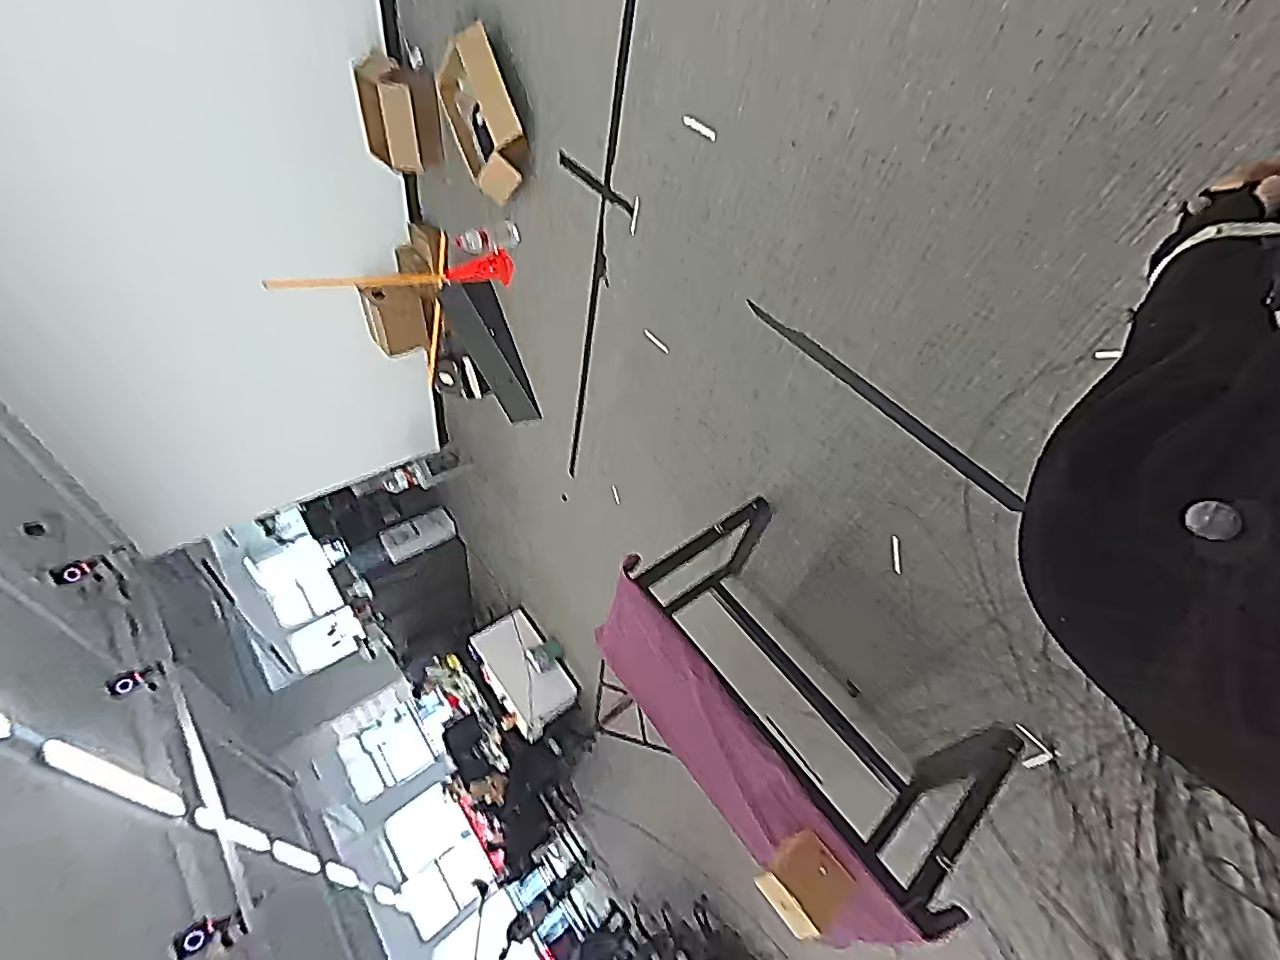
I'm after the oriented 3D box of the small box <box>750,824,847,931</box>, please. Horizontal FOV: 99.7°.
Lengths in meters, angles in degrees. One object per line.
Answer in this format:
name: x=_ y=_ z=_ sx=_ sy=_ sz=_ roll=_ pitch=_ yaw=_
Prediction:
small box: x=0.438 y=1.098 z=1.496 sx=0.168 sy=0.176 sz=0.179 roll=45 pitch=145 yaw=26
